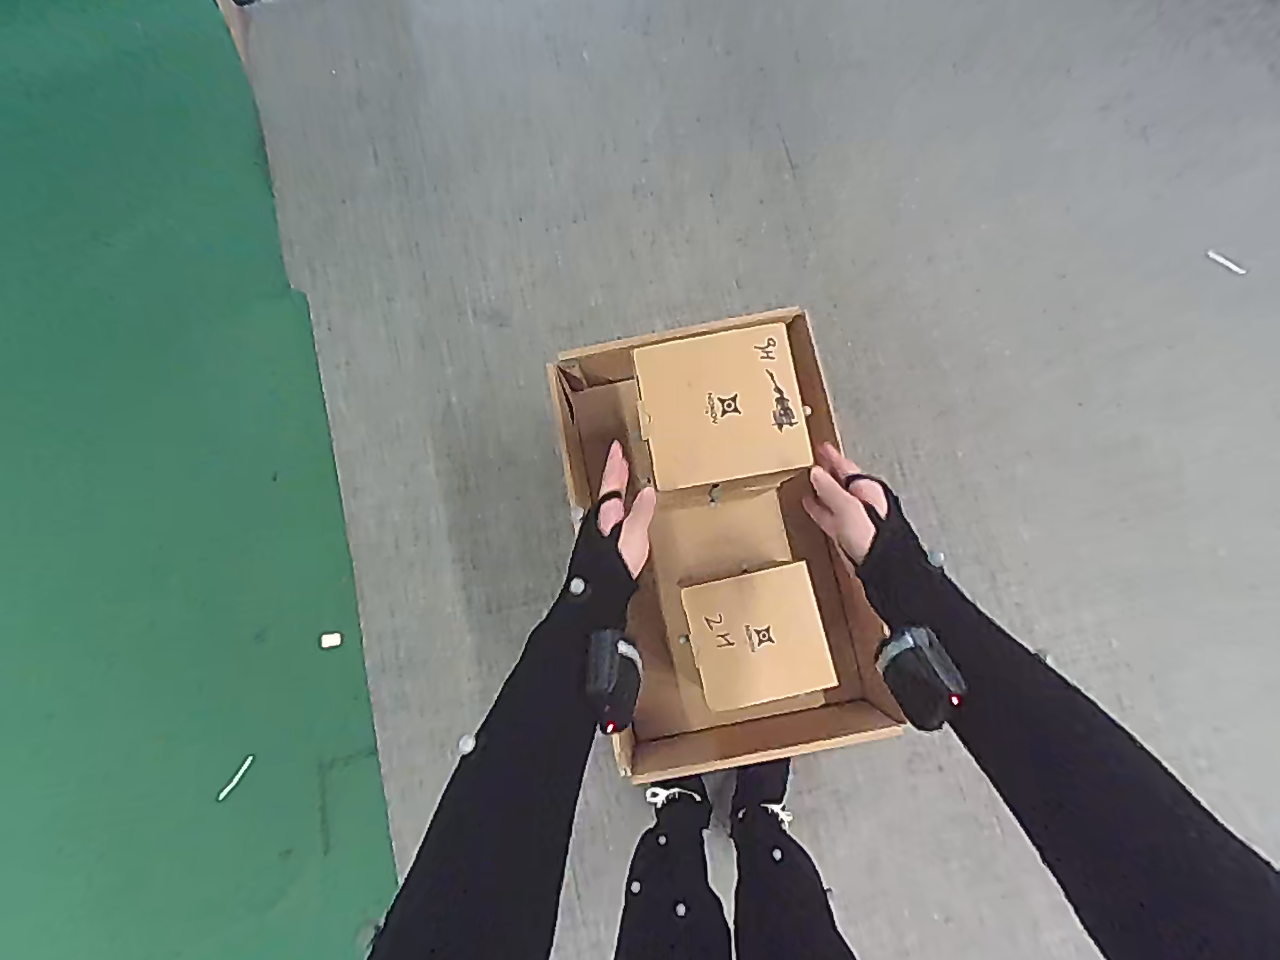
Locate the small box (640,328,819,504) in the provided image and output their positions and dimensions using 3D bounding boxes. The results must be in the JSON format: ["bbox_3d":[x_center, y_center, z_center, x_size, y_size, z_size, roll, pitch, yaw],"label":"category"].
[{"bbox_3d":[0.101,-0.067,0.671,0.179,0.176,0.168,-9,83,1],"label":"small box"}]

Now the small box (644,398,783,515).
[{"bbox_3d":[0.104,-0.041,0.833,0.179,0.176,0.168,-8,82,0],"label":"small box"}]

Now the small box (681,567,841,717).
[{"bbox_3d":[0.163,0.223,0.787,0.179,0.176,0.168,-12,80,0],"label":"small box"}]
